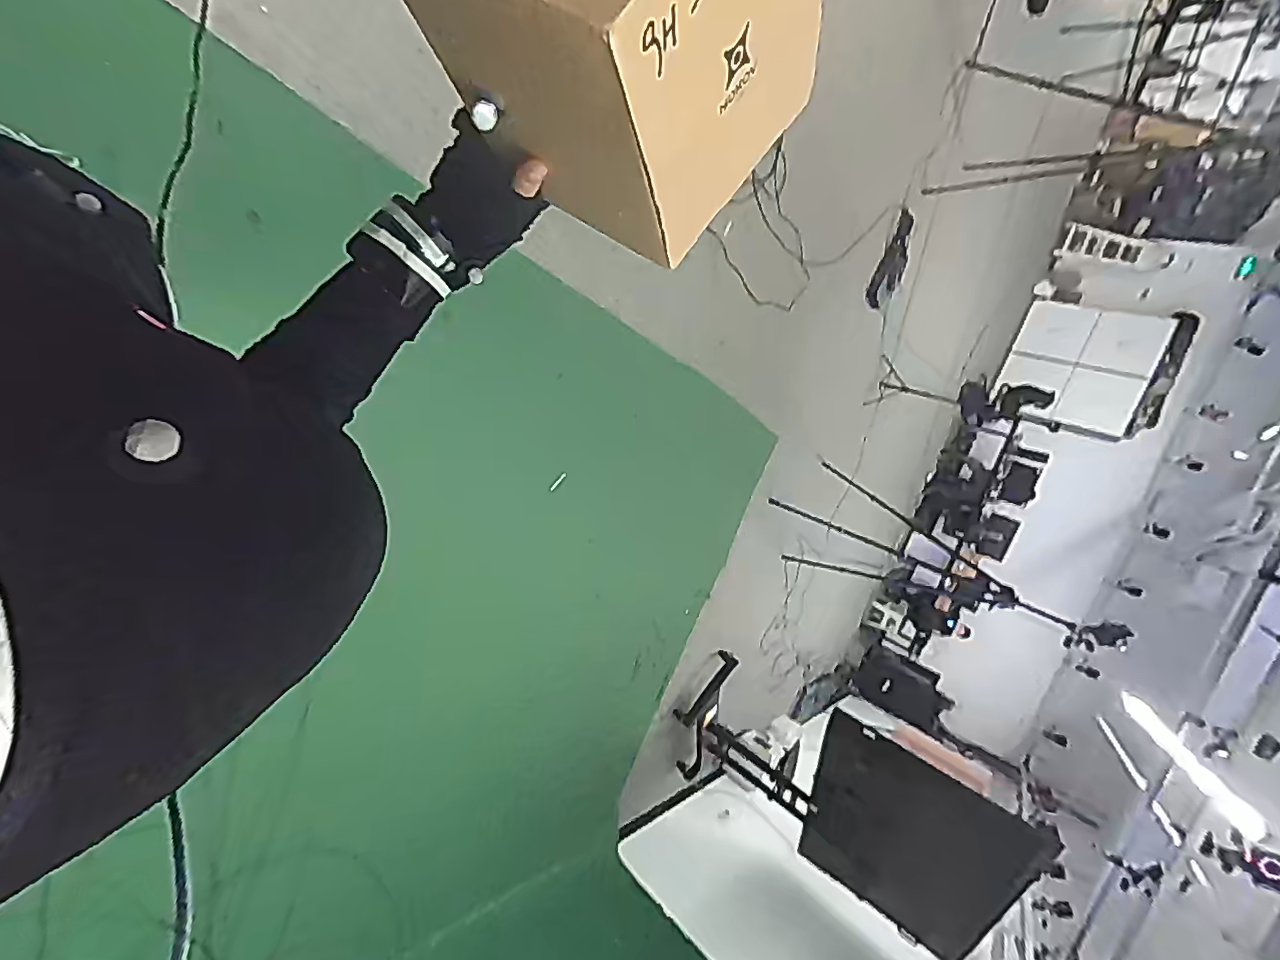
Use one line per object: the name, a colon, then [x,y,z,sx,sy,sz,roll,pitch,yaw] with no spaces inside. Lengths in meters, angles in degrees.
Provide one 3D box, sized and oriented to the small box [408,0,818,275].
small box: [-0.009,-0.273,0.333,0.168,0.176,0.179,-54,165,-3]
